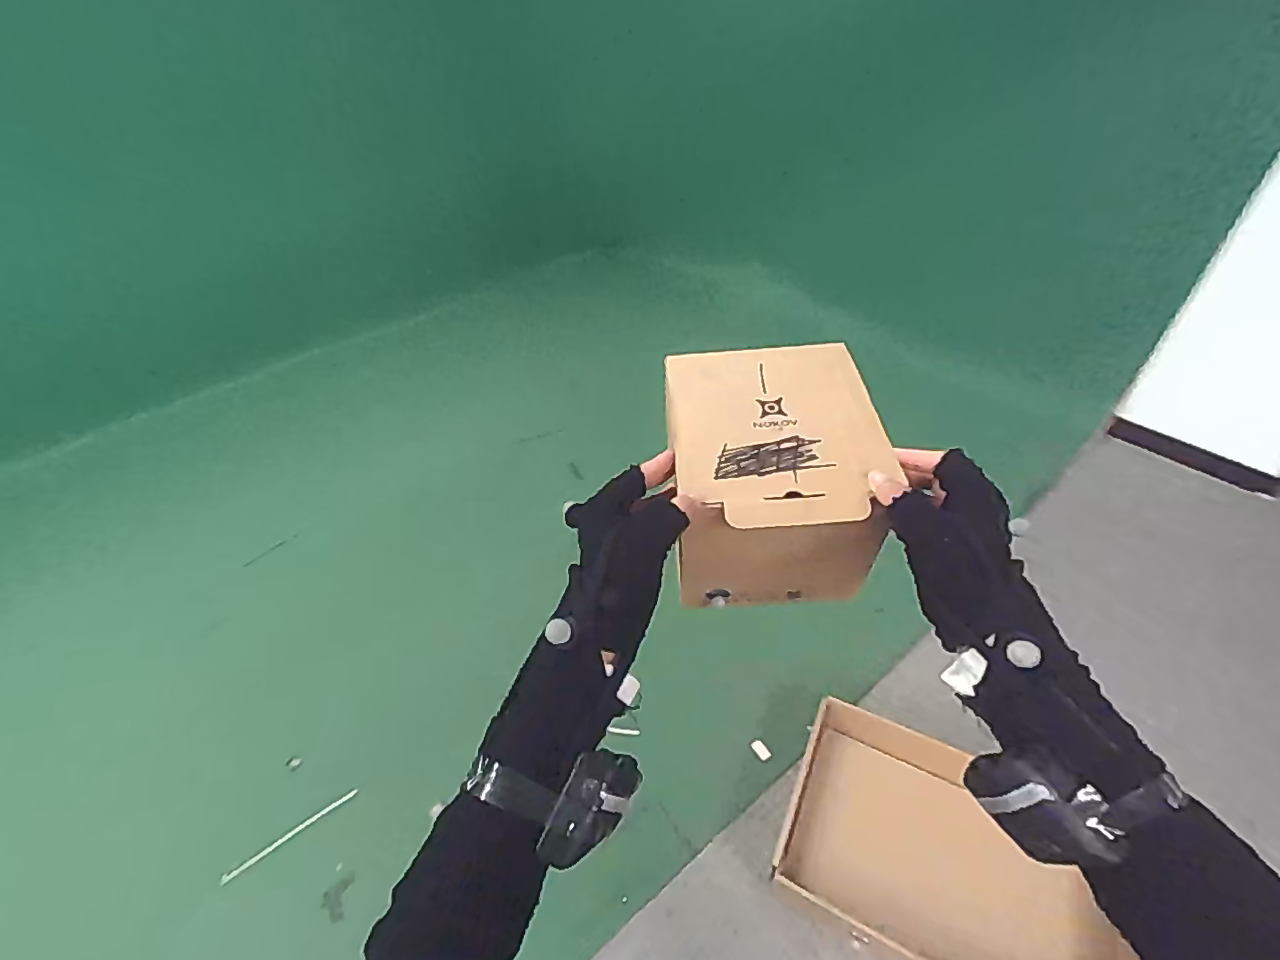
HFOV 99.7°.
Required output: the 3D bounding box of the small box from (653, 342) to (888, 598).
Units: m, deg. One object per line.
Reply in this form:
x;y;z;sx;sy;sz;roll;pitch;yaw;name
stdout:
0.103;-0.002;0.504;0.168;0.176;0.179;-5;50;2;small box
